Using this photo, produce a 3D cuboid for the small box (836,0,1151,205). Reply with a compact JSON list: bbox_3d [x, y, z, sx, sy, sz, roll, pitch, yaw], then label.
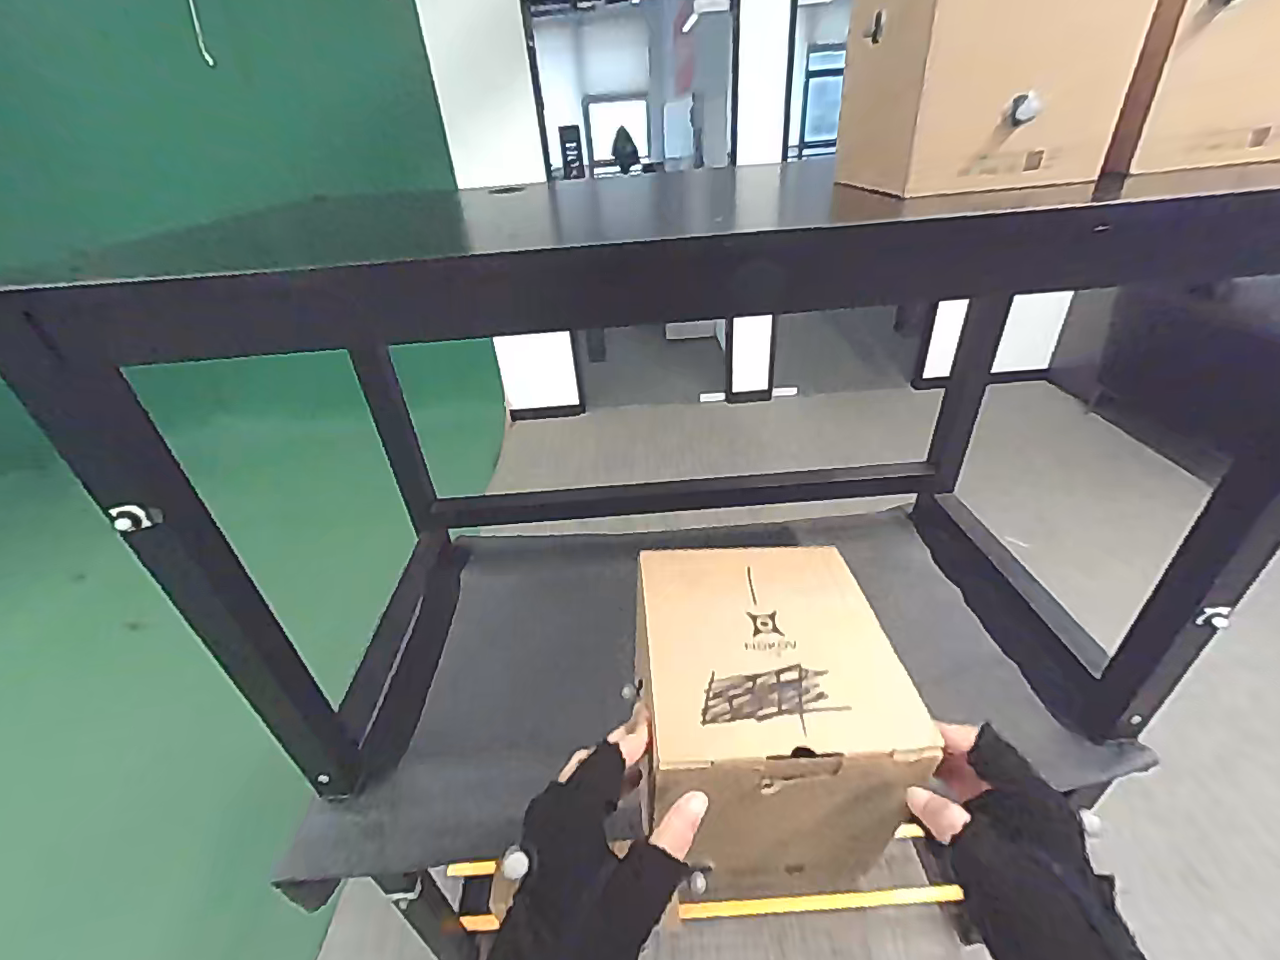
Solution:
[{"bbox_3d":[0.291,-0.353,0.488,0.168,0.176,0.179,-5,34,1],"label":"small box"}]
